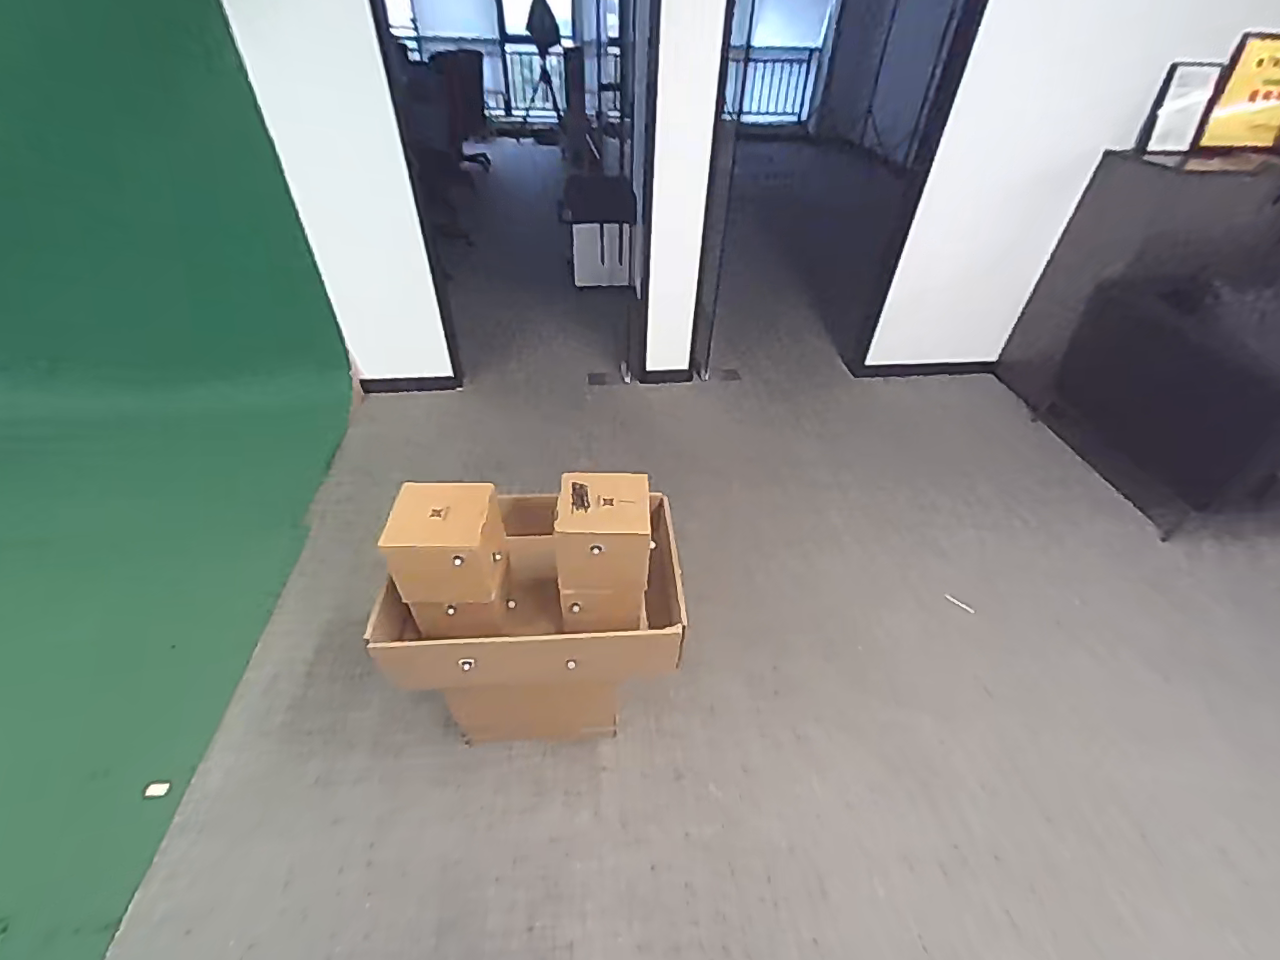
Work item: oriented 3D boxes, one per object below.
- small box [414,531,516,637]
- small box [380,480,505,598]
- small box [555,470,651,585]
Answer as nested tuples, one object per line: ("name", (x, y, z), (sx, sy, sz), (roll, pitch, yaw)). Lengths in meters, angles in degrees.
("small box", (-0.375, 0.227, 1.172), (0.179, 0.176, 0.168), (0, 43, -4))
("small box", (-0.371, 0.117, 1.052), (0.179, 0.176, 0.168), (1, 43, -3))
("small box", (-0.070, 0.096, 1.080), (0.179, 0.176, 0.168), (1, 42, -3))
